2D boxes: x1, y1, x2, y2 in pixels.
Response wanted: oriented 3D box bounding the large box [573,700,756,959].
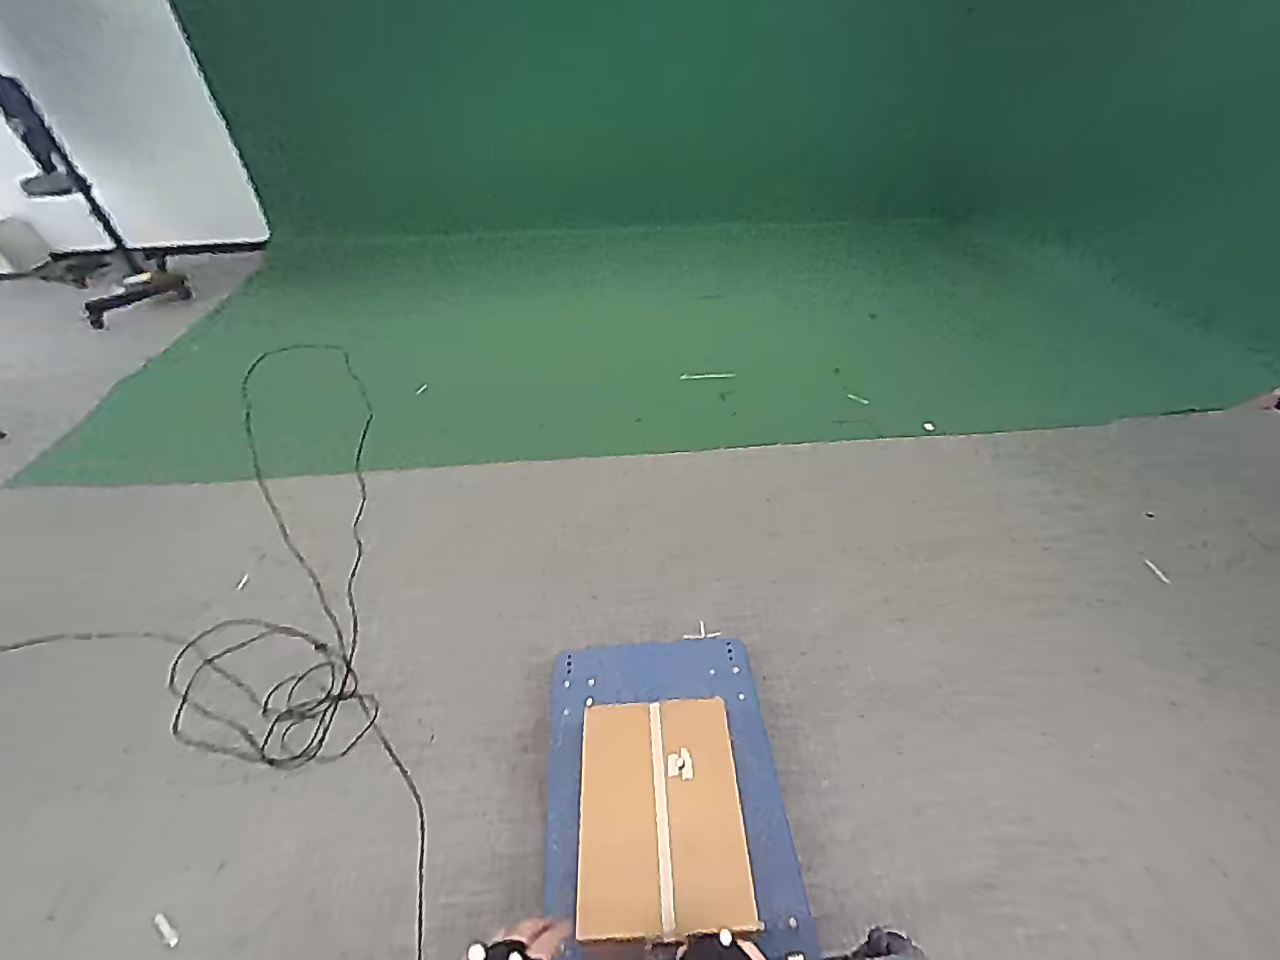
[{"bbox_3d":[0.037,0.737,1.144,0.320,0.320,0.408,-2,42,-1],"label":"large box"}]
